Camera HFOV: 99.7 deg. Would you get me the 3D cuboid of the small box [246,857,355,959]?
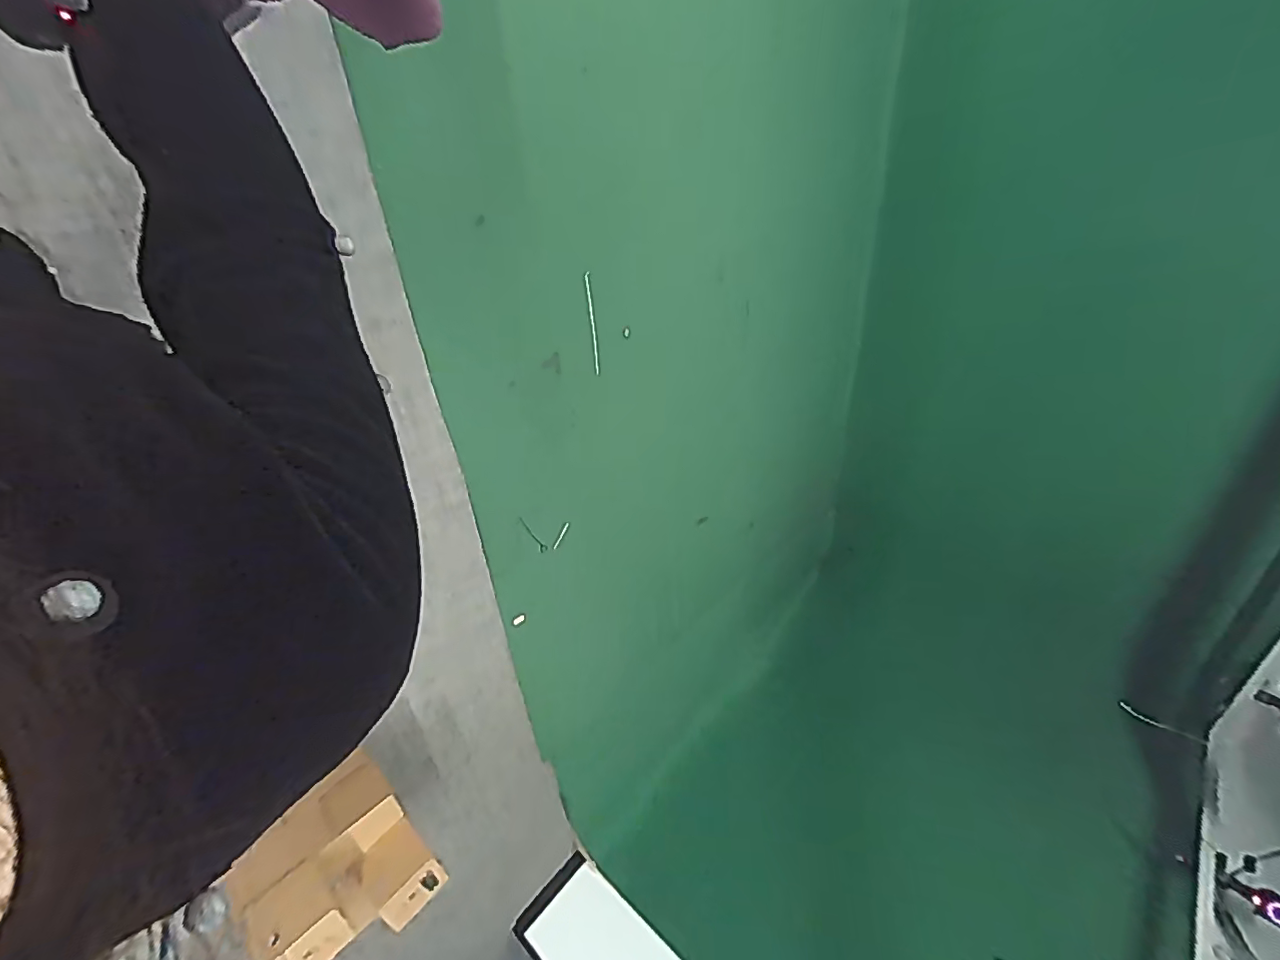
[{"bbox_3d":[-0.866,1.121,1.373,0.179,0.176,0.168,-31,131,-37],"label":"small box"}]
